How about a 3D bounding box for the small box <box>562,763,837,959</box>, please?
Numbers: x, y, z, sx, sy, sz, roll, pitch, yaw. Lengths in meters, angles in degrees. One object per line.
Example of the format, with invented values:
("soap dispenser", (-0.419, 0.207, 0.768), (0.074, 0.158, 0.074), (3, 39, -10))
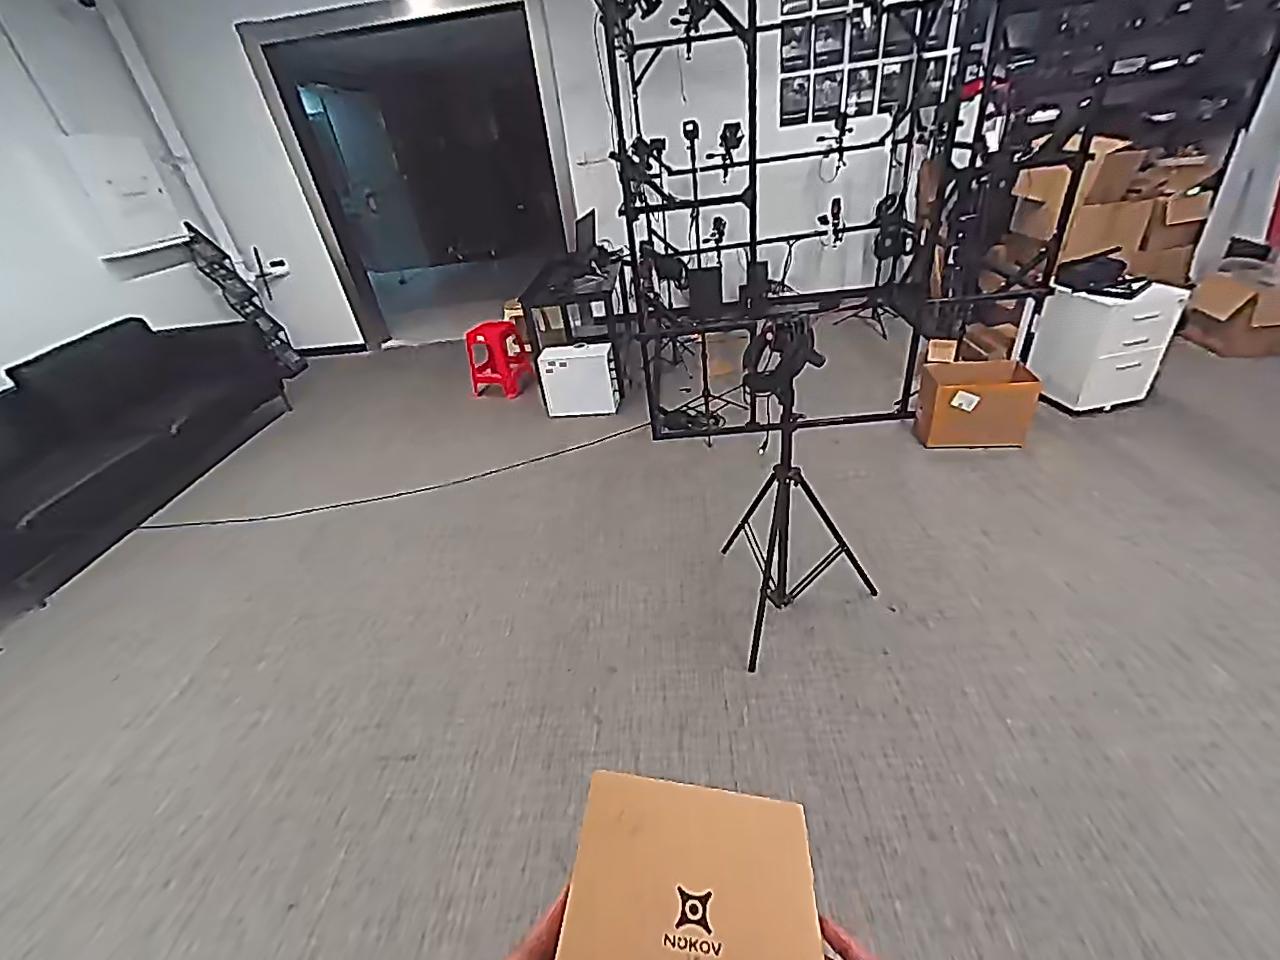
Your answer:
("small box", (0.032, 0.341, 0.379), (0.168, 0.176, 0.179), (8, 30, 3))
